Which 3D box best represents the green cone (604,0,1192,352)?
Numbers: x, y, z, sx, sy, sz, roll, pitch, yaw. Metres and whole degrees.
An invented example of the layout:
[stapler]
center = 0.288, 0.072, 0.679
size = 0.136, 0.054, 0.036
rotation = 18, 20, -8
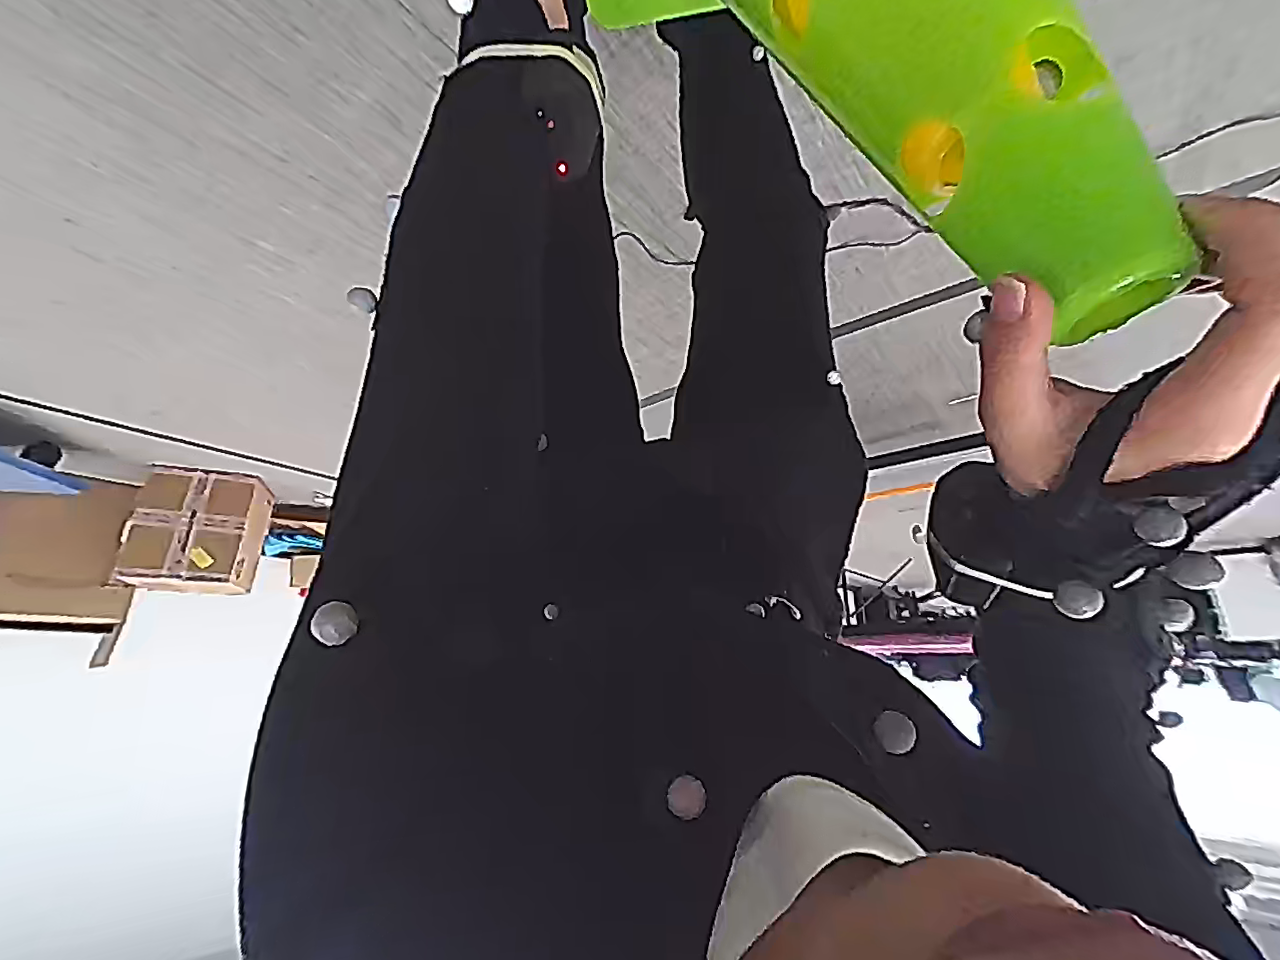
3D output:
[green cone]
center = 0.104, -0.213, 0.220
size = 0.202, 0.368, 0.200
rotation = -12, 158, -2
